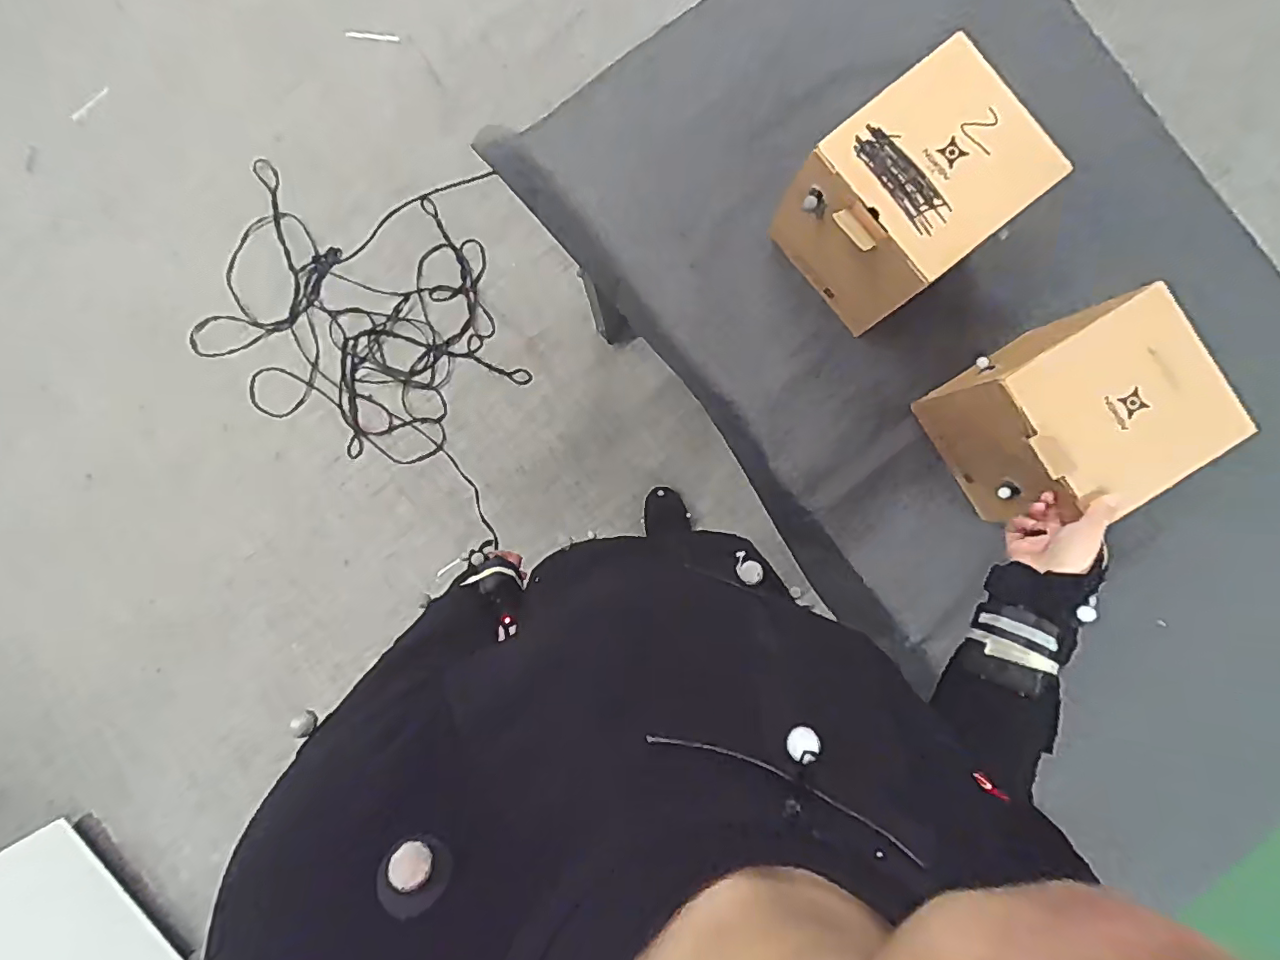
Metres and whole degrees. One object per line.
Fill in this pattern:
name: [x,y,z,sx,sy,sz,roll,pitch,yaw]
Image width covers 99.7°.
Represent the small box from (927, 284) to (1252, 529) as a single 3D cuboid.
small box: [0.441,-0.065,0.570,0.179,0.176,0.168,-33,90,-1]
